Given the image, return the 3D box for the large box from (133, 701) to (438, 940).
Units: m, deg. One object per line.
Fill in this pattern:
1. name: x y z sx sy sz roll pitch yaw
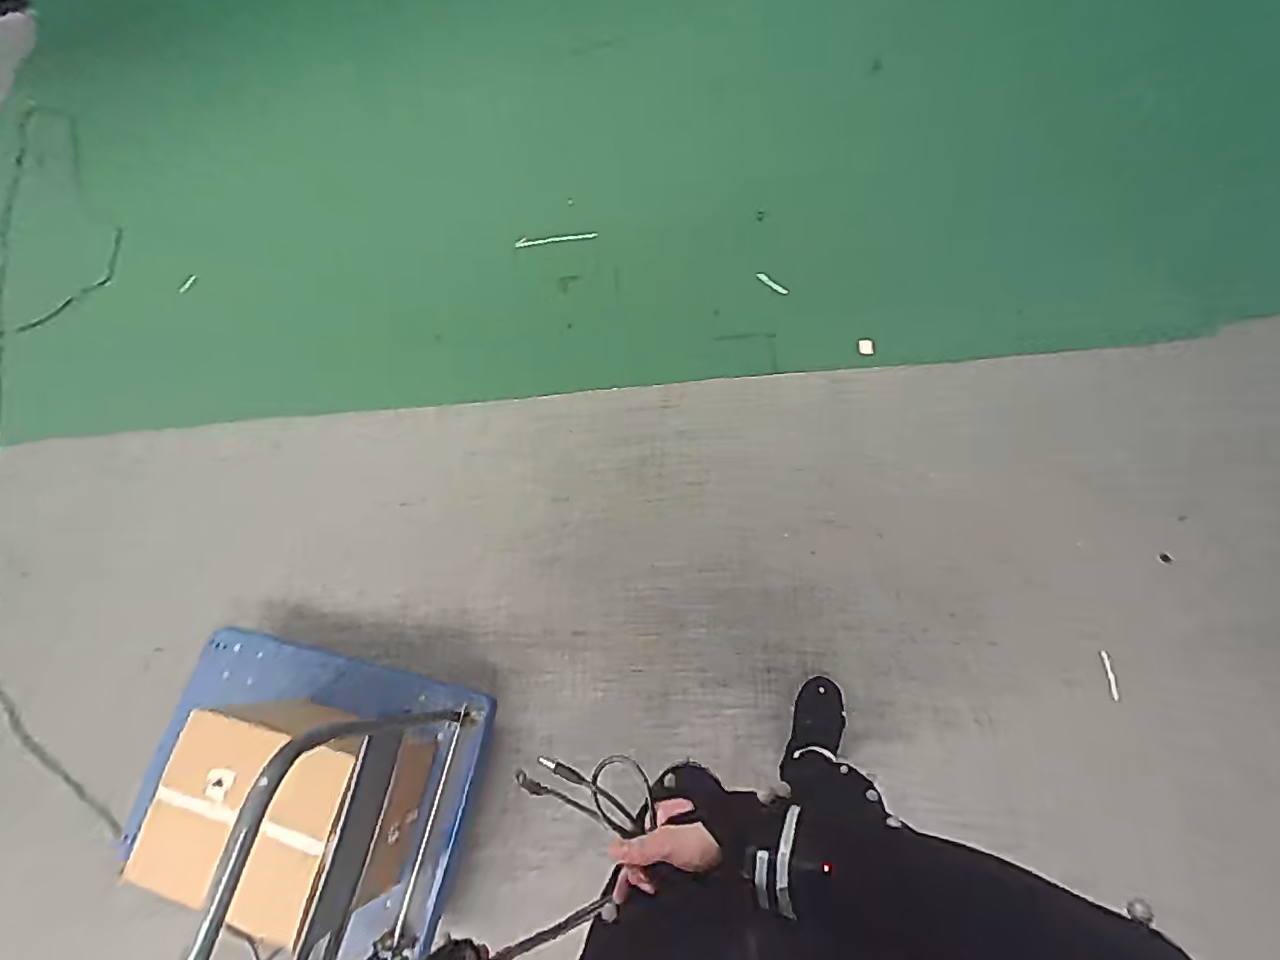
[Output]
1. large box: -0.728 0.690 1.173 0.408 0.320 0.320 8 72 14
